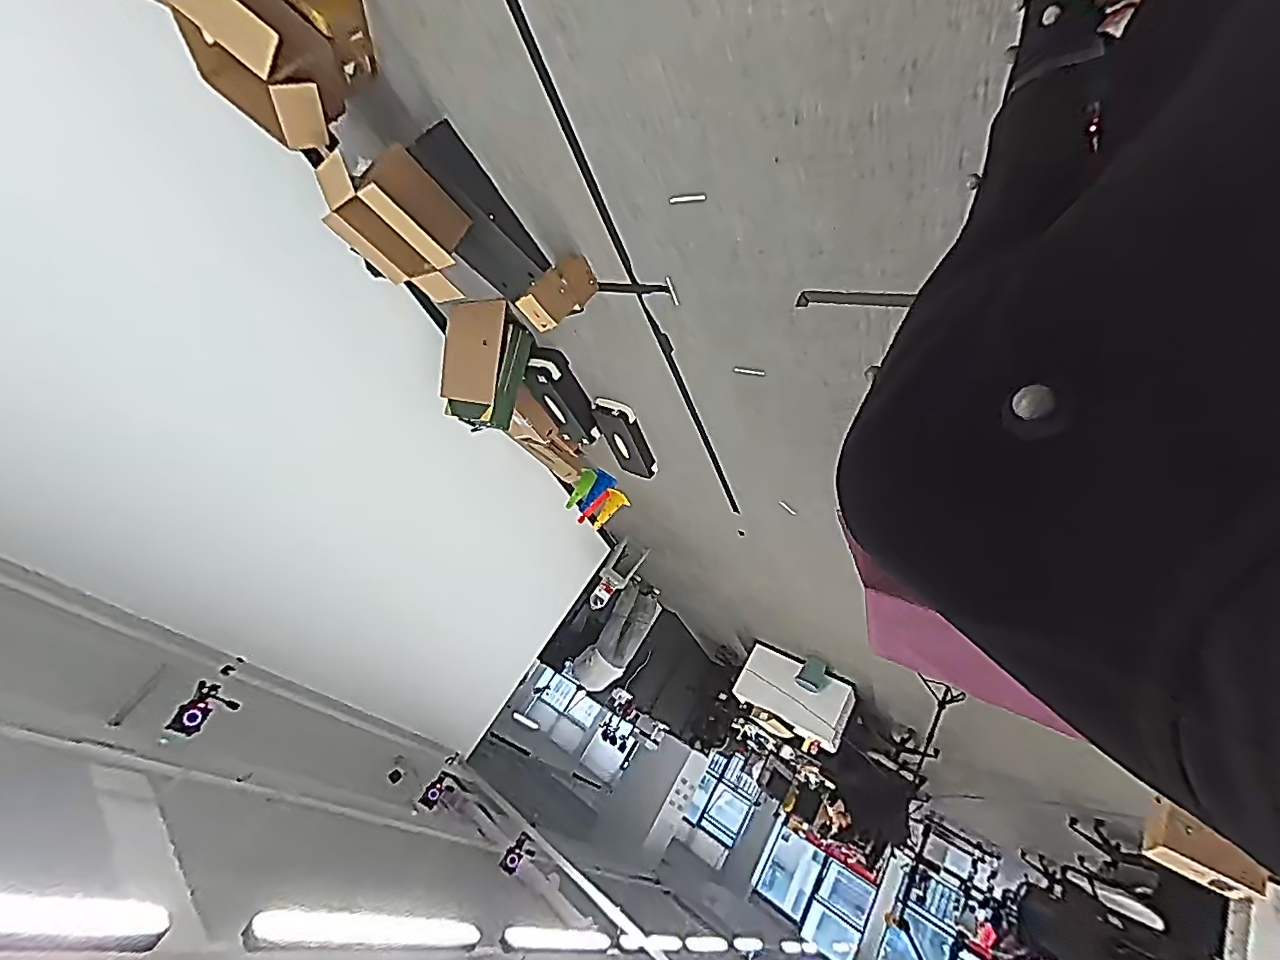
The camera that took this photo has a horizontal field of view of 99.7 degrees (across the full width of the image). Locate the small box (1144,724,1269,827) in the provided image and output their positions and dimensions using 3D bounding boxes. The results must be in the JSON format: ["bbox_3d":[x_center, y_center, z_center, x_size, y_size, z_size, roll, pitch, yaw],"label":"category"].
[{"bbox_3d":[1.464,0.756,1.403,0.179,0.176,0.168,19,153,35],"label":"small box"}]
